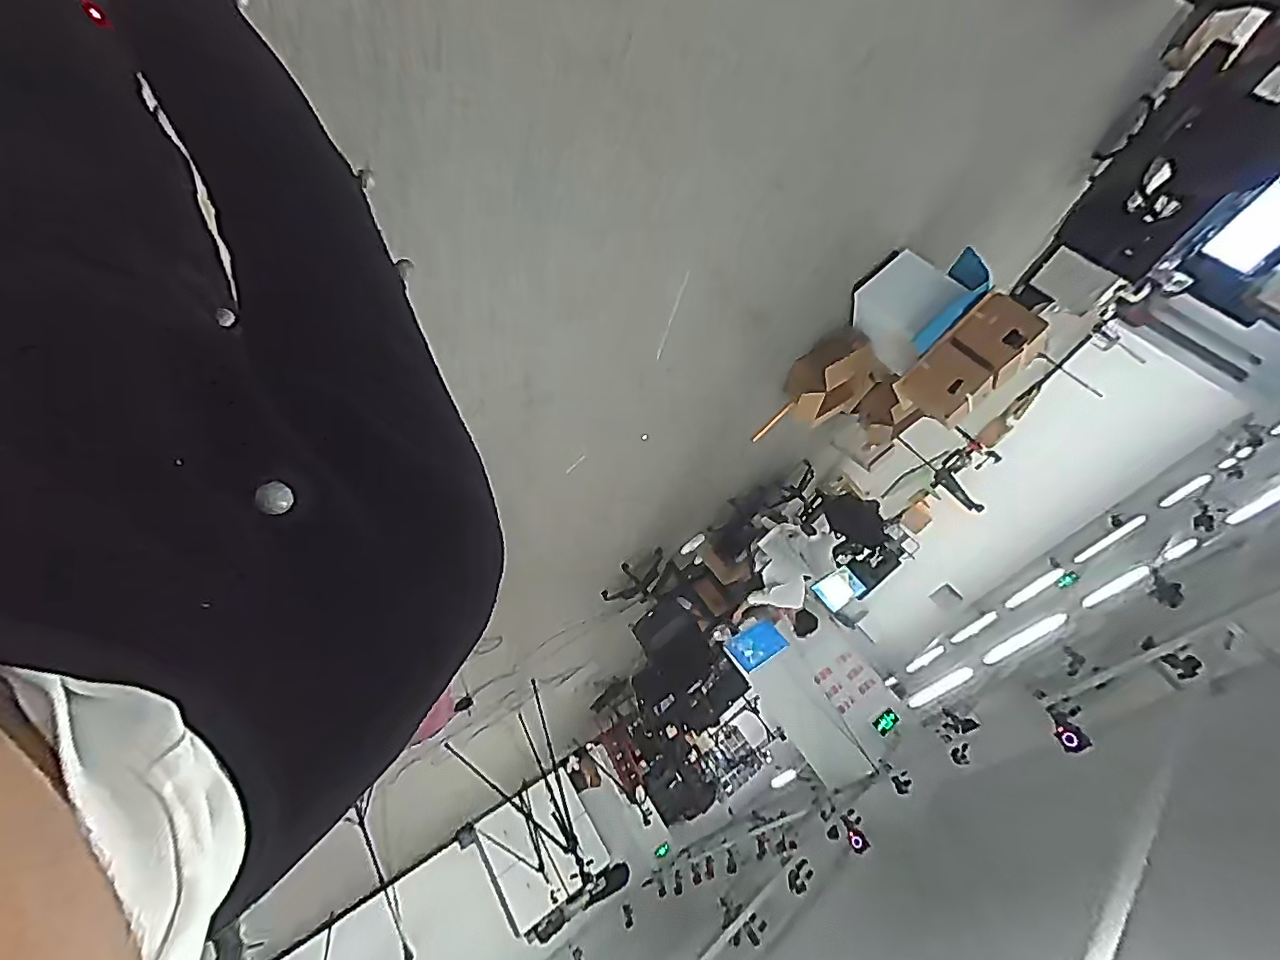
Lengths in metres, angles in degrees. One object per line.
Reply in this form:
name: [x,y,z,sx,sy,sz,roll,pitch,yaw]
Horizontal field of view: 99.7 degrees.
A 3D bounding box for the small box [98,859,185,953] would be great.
small box: [-1.604,1.362,1.736,0.168,0.176,0.179,-21,148,-36]
